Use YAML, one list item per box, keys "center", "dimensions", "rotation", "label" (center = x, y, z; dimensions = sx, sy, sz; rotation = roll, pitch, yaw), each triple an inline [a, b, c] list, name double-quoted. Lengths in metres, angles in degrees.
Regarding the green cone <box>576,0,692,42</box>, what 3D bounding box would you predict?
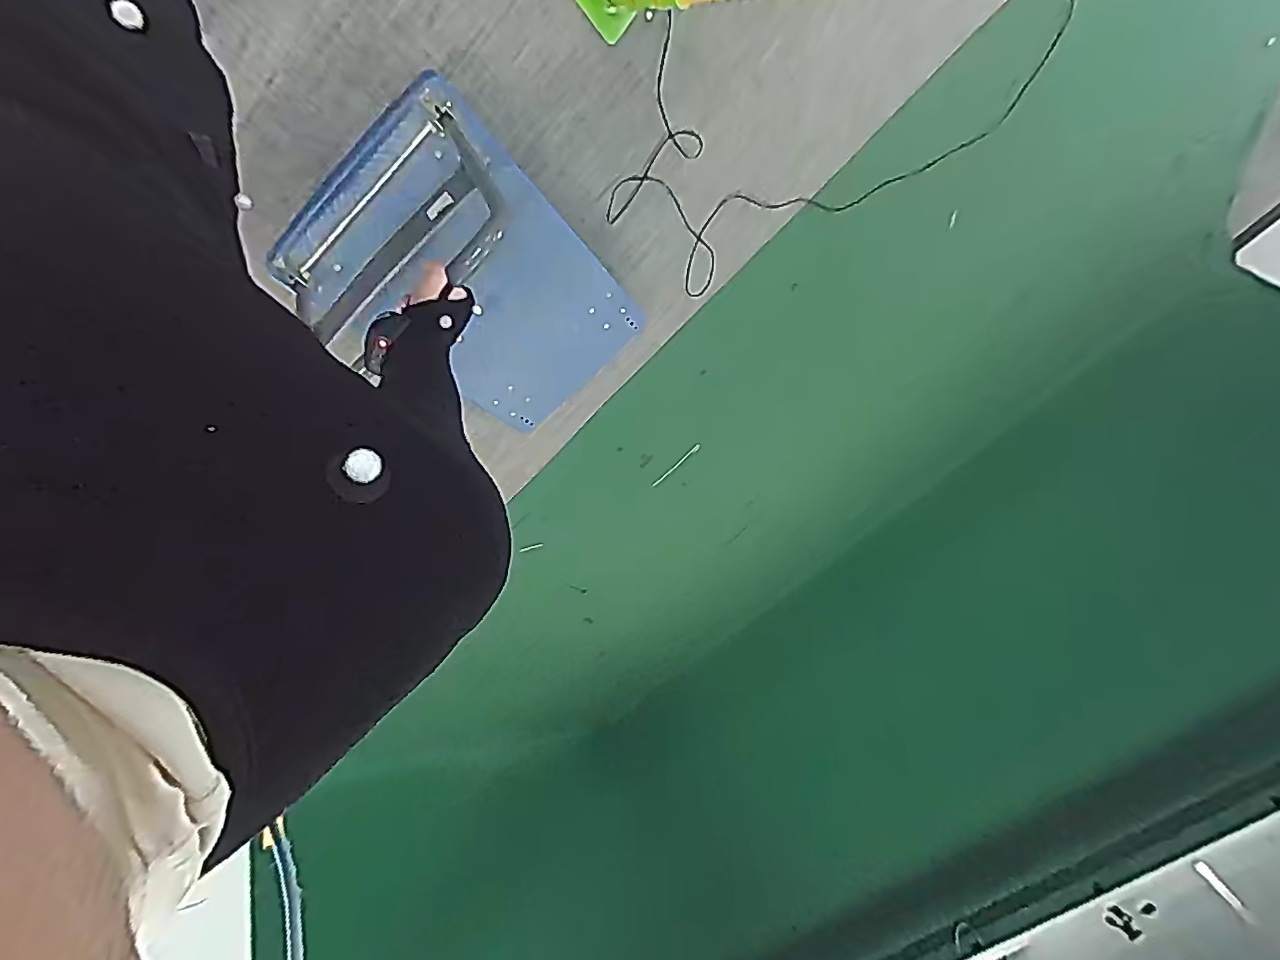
- center: [0.013, -1.026, 1.106]
  dimensions: [0.202, 0.368, 0.200]
  rotation: [-46, 143, 18]
  label: "green cone"
